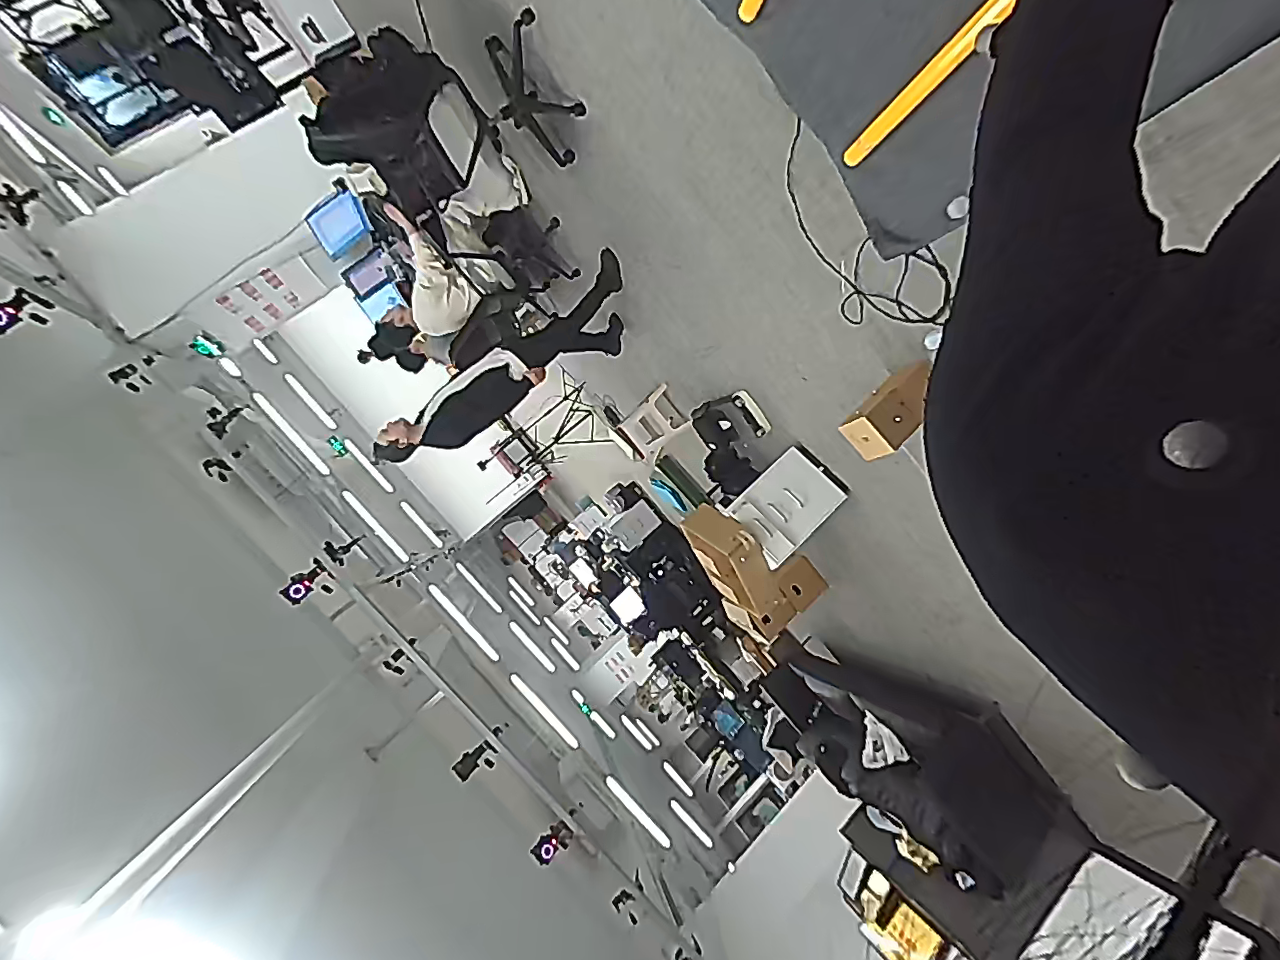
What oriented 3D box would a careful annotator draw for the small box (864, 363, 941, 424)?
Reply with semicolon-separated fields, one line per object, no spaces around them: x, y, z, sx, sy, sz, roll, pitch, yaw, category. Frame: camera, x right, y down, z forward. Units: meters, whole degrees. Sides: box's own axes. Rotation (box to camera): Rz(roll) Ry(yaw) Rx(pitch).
0.974;-0.307;1.999;0.168;0.176;0.179;48;167;-3;small box

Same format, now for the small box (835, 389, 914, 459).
0.854;-0.203;1.953;0.168;0.176;0.179;48;167;-2;small box
